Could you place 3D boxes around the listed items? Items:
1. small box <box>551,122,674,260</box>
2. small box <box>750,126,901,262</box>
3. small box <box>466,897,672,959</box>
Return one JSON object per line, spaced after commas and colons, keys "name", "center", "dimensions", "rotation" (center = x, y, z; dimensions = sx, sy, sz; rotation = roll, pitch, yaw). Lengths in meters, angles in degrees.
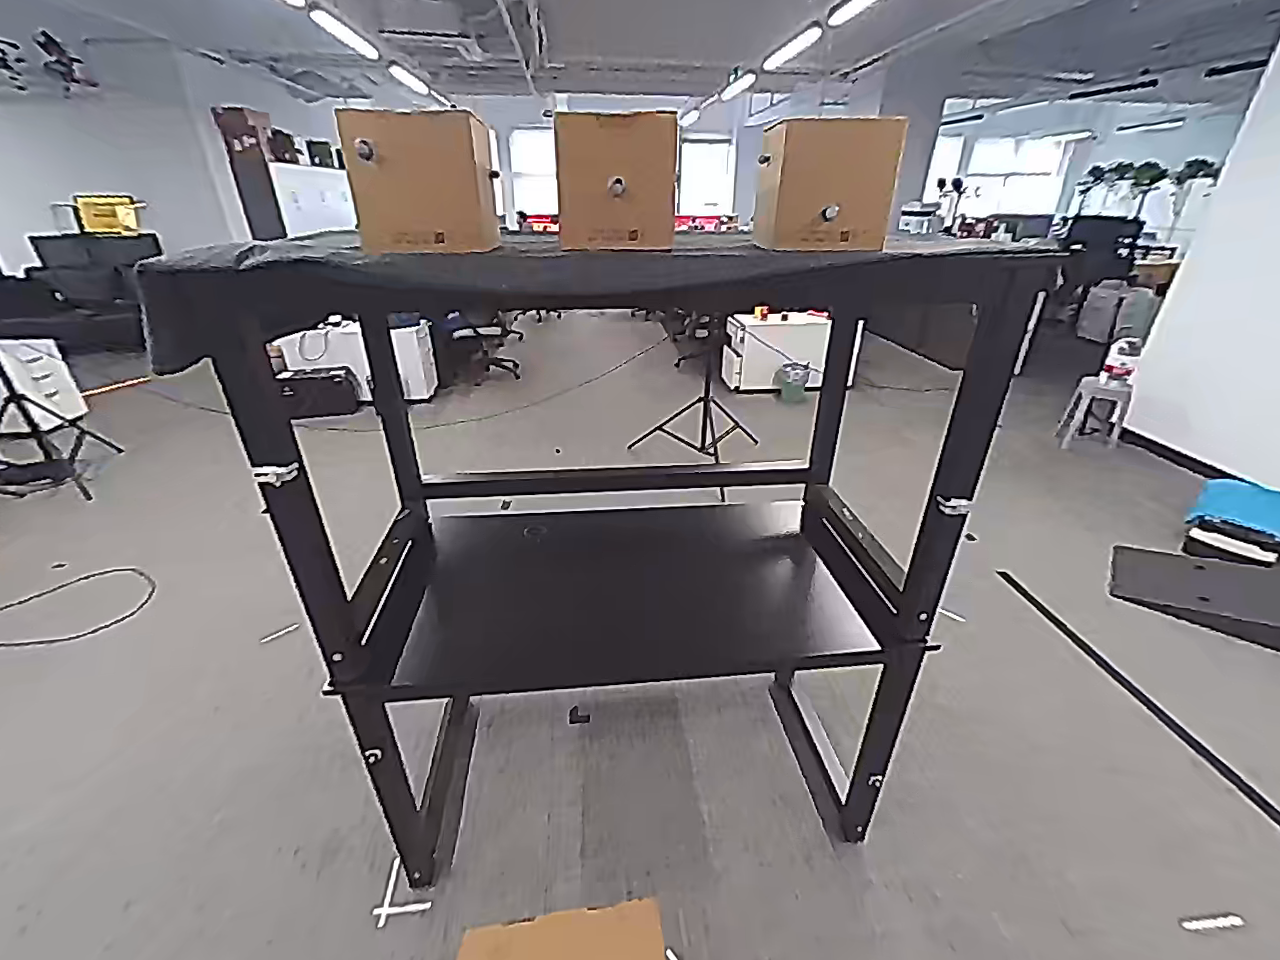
{"name": "small box", "center": [-0.042, -0.426, 0.814], "dimensions": [0.168, 0.176, 0.179], "rotation": [-2, 26, -6]}
{"name": "small box", "center": [0.270, -0.437, 0.838], "dimensions": [0.168, 0.176, 0.179], "rotation": [0, 27, 0]}
{"name": "small box", "center": [-0.047, 0.460, 0.390], "dimensions": [0.168, 0.176, 0.179], "rotation": [-6, 4, -6]}
